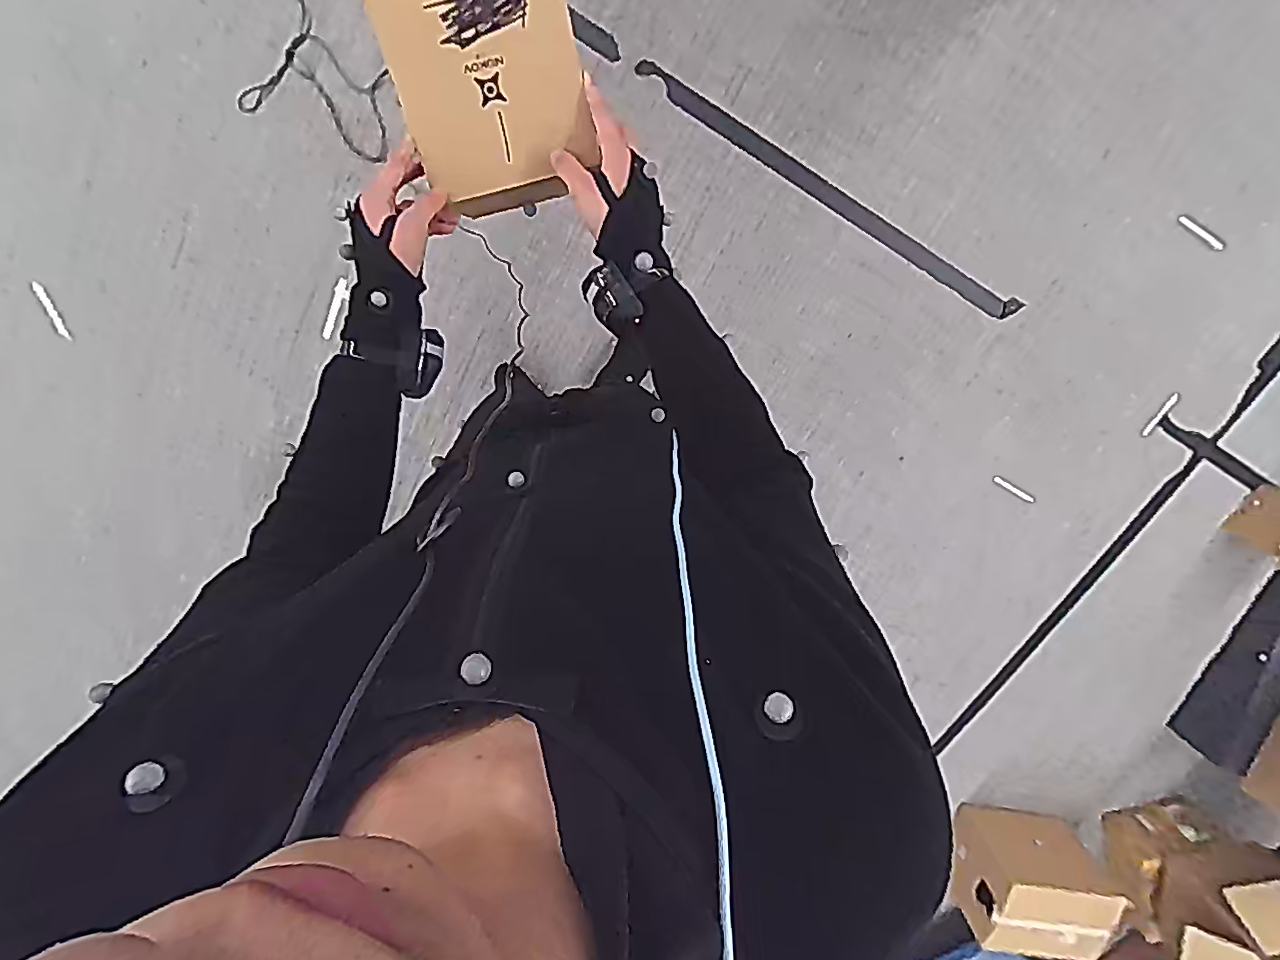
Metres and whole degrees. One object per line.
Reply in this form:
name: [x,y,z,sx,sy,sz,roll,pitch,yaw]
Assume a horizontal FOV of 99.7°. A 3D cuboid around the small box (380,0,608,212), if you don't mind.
small box: [-0.132,-0.389,0.551,0.168,0.176,0.179,-13,113,1]
